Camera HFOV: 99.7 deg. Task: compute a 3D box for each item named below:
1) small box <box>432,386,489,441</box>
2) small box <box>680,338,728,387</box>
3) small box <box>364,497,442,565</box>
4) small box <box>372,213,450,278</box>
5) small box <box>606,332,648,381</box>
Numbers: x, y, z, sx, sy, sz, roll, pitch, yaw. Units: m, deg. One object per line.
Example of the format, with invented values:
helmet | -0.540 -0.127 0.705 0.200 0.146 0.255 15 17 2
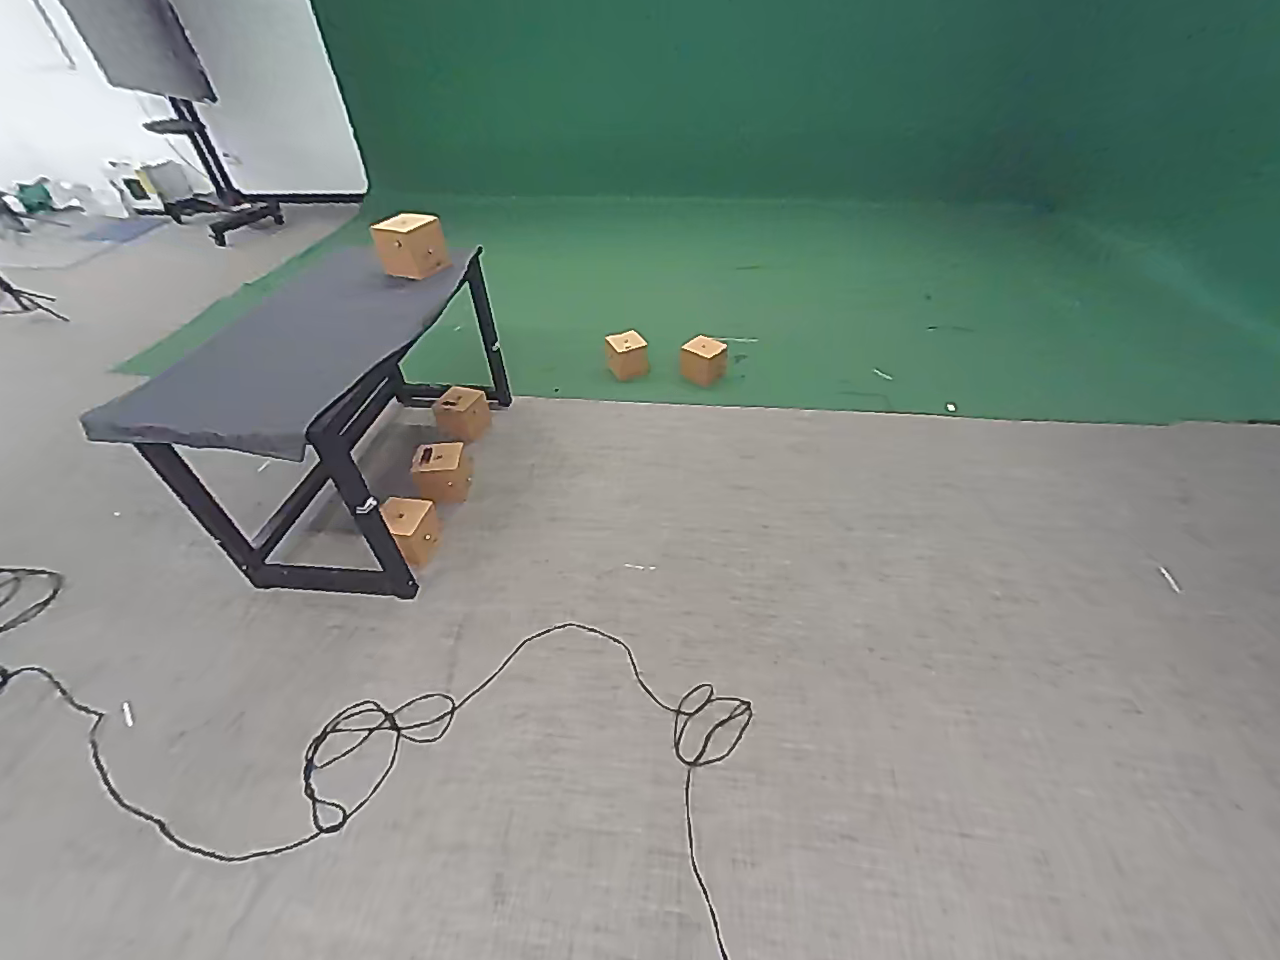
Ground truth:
small box | -0.802 -0.299 2.442 0.168 0.176 0.179 13 44 14
small box | 0.320 -0.587 2.722 0.179 0.176 0.168 30 50 30
small box | -0.833 0.184 1.927 0.179 0.176 0.168 6 44 9
small box | -0.820 -0.846 1.956 0.179 0.176 0.168 17 46 22
small box | -0.068 -0.636 2.787 0.168 0.176 0.179 -19 45 -18
